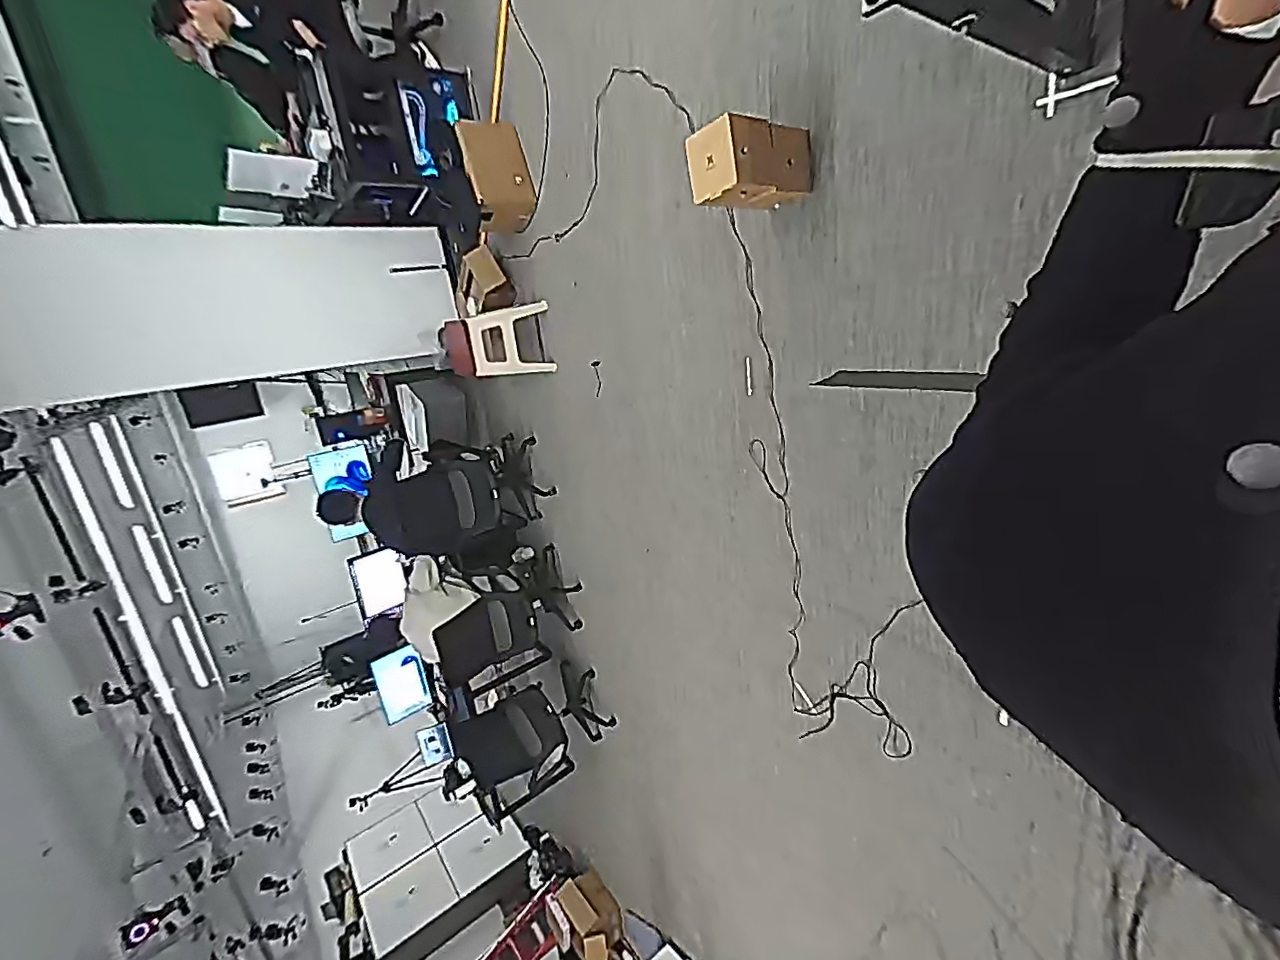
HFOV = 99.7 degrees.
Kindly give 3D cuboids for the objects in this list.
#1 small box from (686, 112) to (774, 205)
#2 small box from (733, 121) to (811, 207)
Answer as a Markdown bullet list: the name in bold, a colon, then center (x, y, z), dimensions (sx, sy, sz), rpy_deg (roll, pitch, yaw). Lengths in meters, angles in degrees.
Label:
- **small box**: center (0.253, -0.881, 1.497), dimensions (0.168, 0.176, 0.179), rpy_deg (5, 109, 52)
- **small box**: center (0.382, -0.919, 1.589), dimensions (0.168, 0.176, 0.179), rpy_deg (10, 114, 52)
